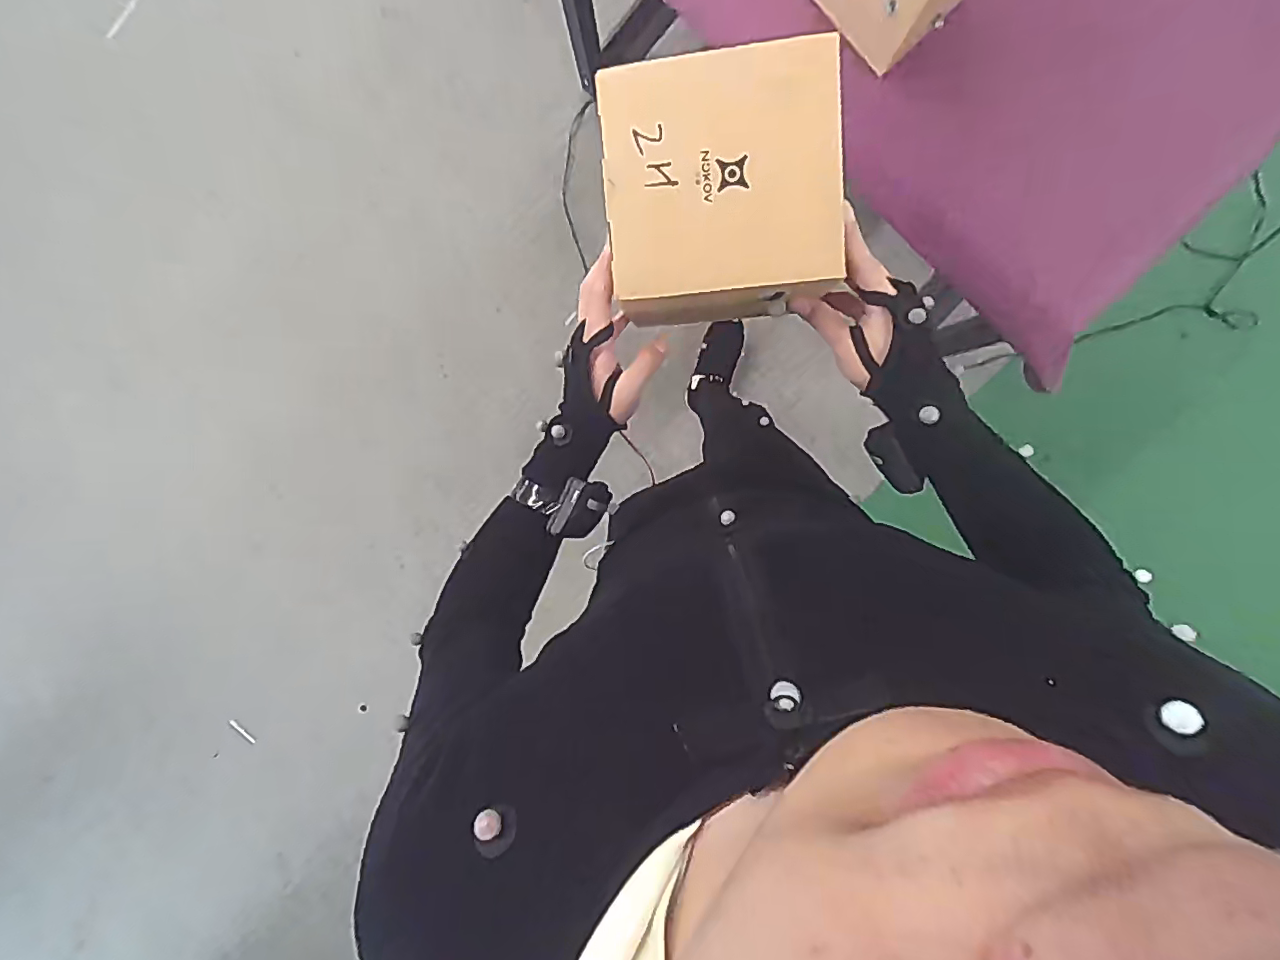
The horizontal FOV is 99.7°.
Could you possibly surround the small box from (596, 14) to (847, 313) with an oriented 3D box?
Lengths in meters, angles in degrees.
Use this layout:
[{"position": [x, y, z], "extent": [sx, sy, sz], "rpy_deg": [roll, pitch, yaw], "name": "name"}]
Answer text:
[{"position": [0.067, -0.246, 0.468], "extent": [0.179, 0.176, 0.168], "rpy_deg": [-4, 98, 7], "name": "small box"}]
